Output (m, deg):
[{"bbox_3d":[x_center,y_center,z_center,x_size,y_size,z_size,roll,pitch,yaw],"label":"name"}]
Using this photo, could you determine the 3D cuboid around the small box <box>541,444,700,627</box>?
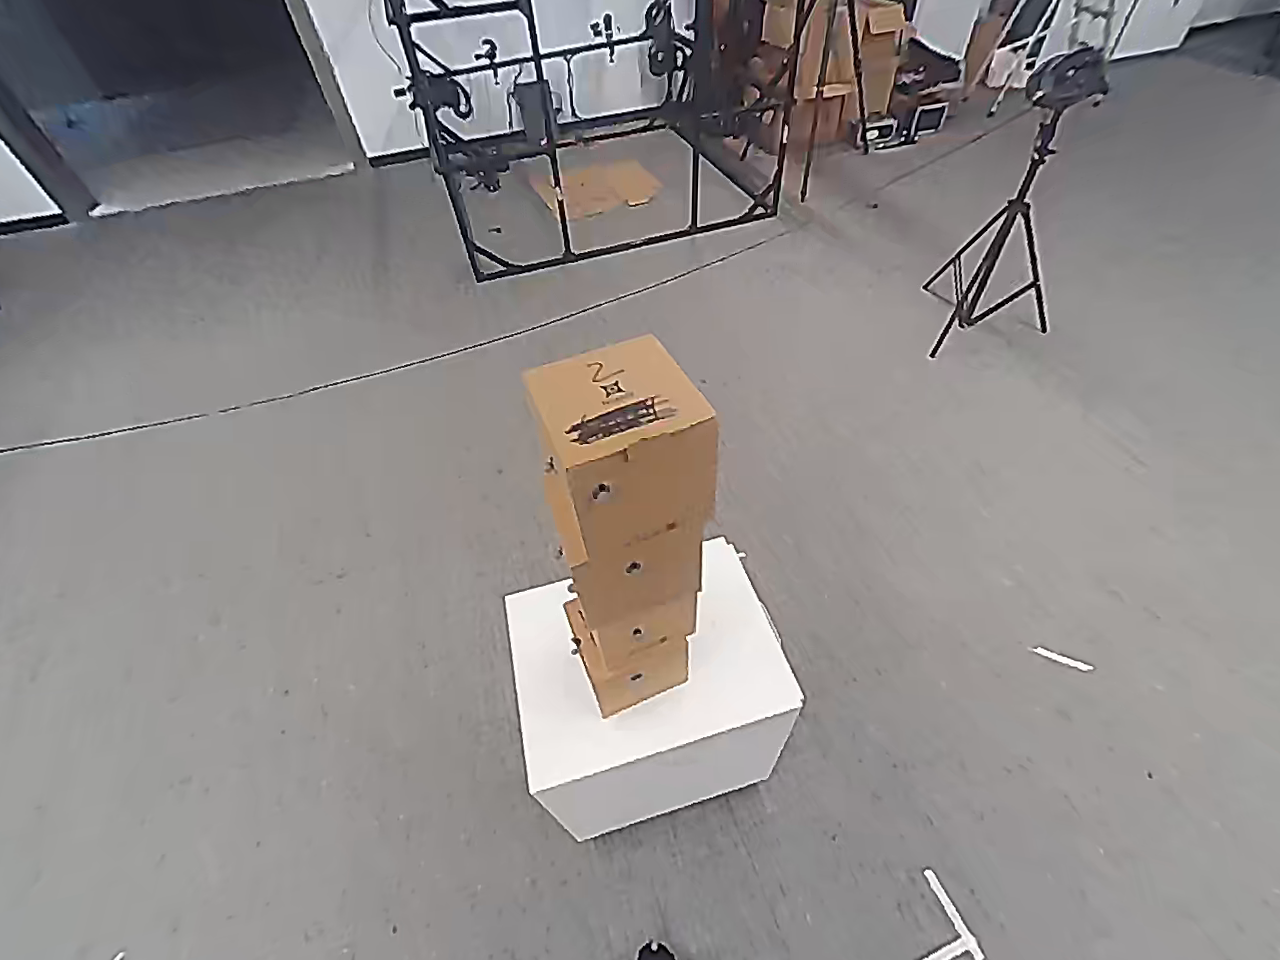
[{"bbox_3d":[-0.024,0.082,0.765,0.179,0.176,0.168,-17,49,-10],"label":"small box"}]

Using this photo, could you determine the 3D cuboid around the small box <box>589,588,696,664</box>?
[{"bbox_3d":[-0.015,0.182,0.897,0.168,0.176,0.179,-19,49,-12],"label":"small box"}]

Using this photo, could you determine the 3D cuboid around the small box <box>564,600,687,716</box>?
[{"bbox_3d":[-0.023,0.307,1.003,0.179,0.176,0.168,-20,50,-13],"label":"small box"}]
